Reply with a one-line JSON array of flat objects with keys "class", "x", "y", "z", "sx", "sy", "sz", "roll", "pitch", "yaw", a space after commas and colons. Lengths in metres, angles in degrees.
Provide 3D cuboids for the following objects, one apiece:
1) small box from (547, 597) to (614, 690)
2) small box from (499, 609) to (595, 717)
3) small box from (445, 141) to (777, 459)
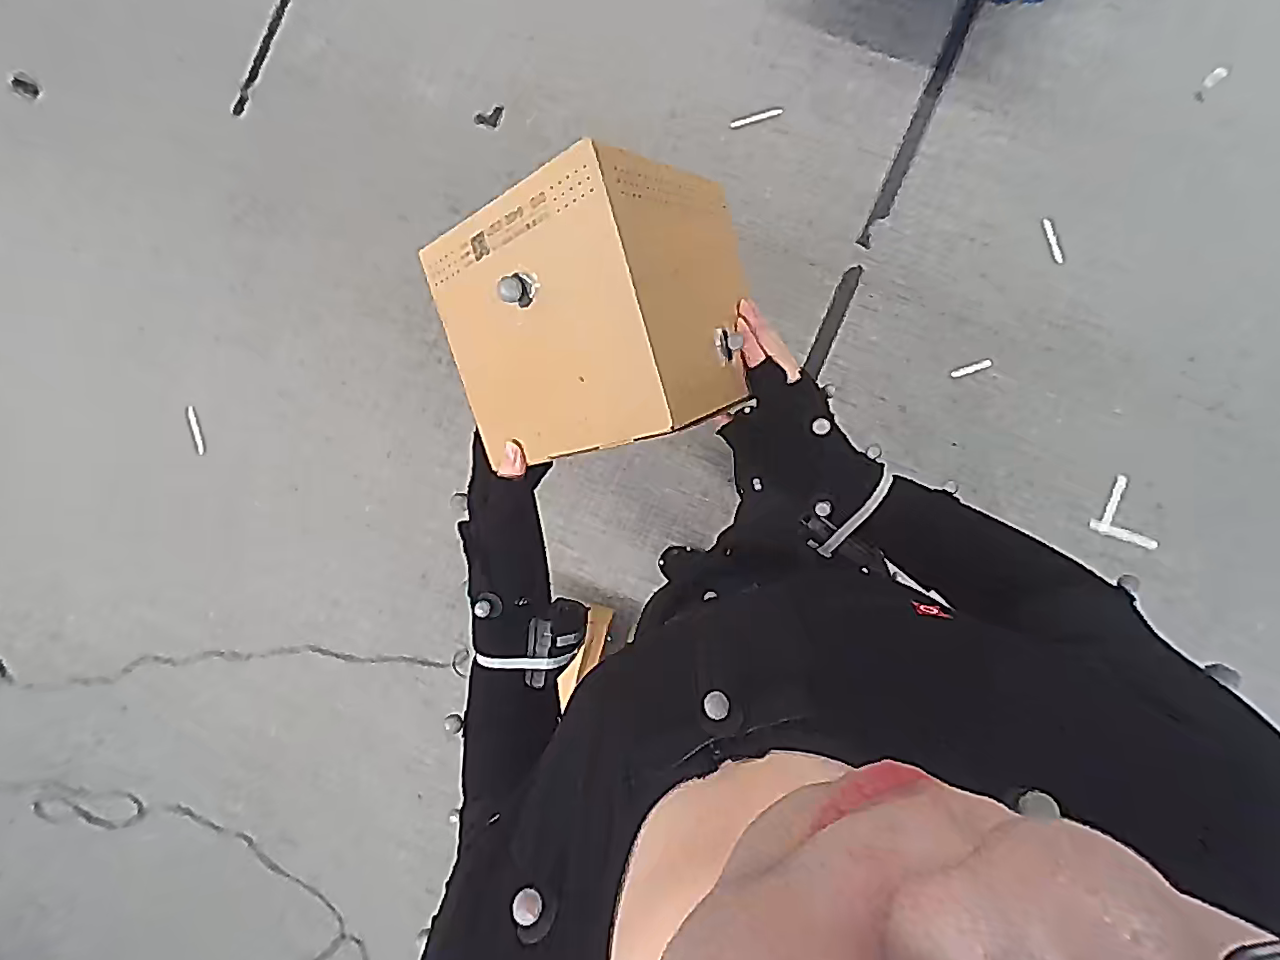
[{"class": "small box", "x": -0.173, "y": 0.430, "z": 1.449, "sx": 0.168, "sy": 0.176, "sz": 0.179, "roll": 13, "pitch": 90, "yaw": 4}, {"class": "small box", "x": -0.212, "y": 0.426, "z": 1.287, "sx": 0.168, "sy": 0.176, "sz": 0.179, "roll": 15, "pitch": 90, "yaw": 4}, {"class": "small box", "x": -0.013, "y": -0.127, "z": 0.416, "sx": 0.168, "sy": 0.179, "sz": 0.176, "roll": -9, "pitch": 101, "yaw": 35}]
